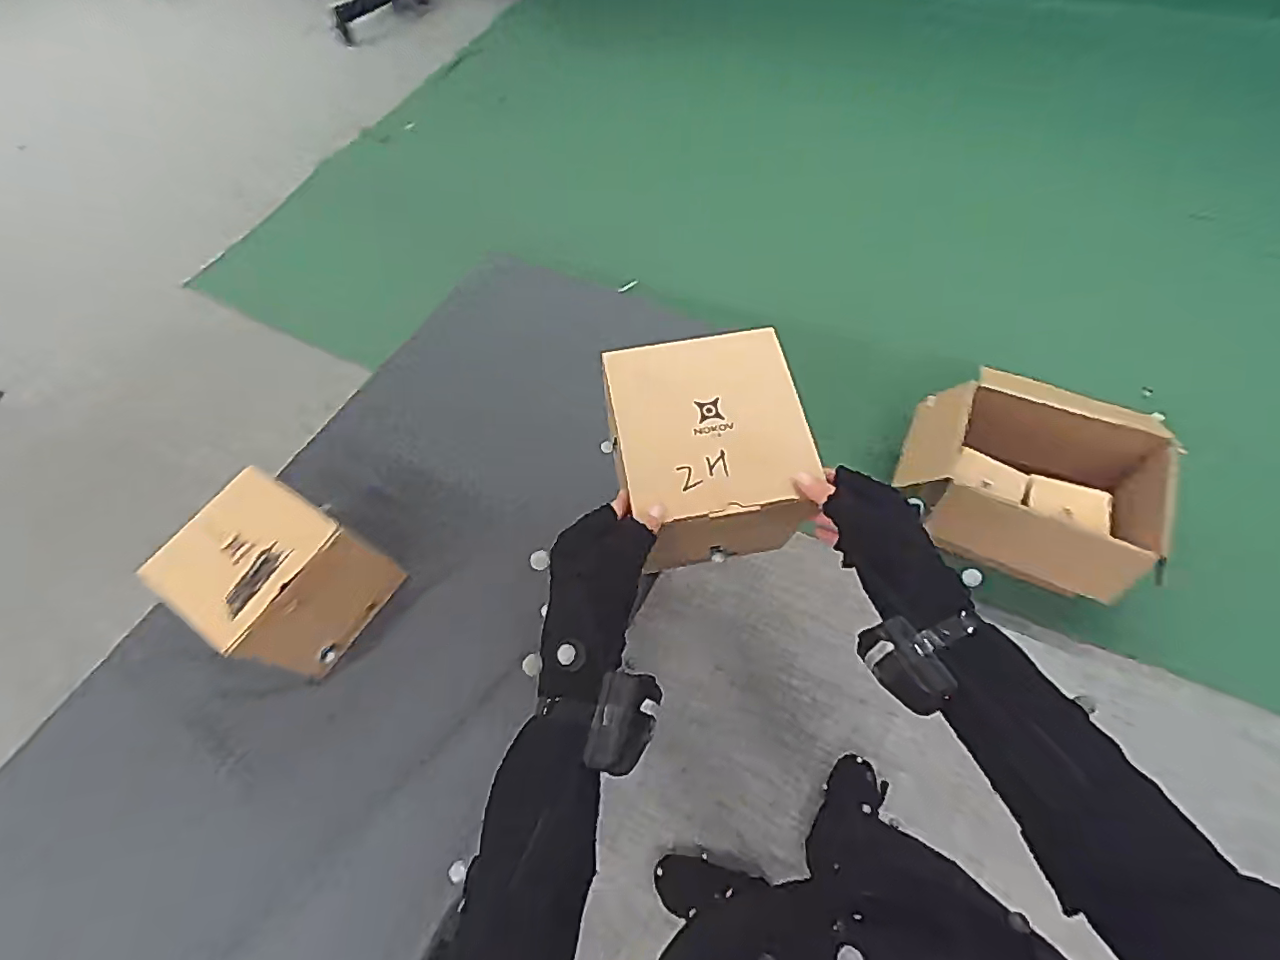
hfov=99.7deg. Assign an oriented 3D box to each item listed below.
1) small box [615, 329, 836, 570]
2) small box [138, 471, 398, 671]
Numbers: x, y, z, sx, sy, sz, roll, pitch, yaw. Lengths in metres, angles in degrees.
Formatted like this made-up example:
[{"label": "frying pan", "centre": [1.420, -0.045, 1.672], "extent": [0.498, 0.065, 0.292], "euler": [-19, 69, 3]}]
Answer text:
[{"label": "small box", "centre": [0.068, -0.023, 0.546], "extent": [0.168, 0.176, 0.179], "euler": [-9, 68, -4]}, {"label": "small box", "centre": [-0.450, 0.123, 0.685], "extent": [0.179, 0.176, 0.168], "euler": [27, 68, 19]}]
